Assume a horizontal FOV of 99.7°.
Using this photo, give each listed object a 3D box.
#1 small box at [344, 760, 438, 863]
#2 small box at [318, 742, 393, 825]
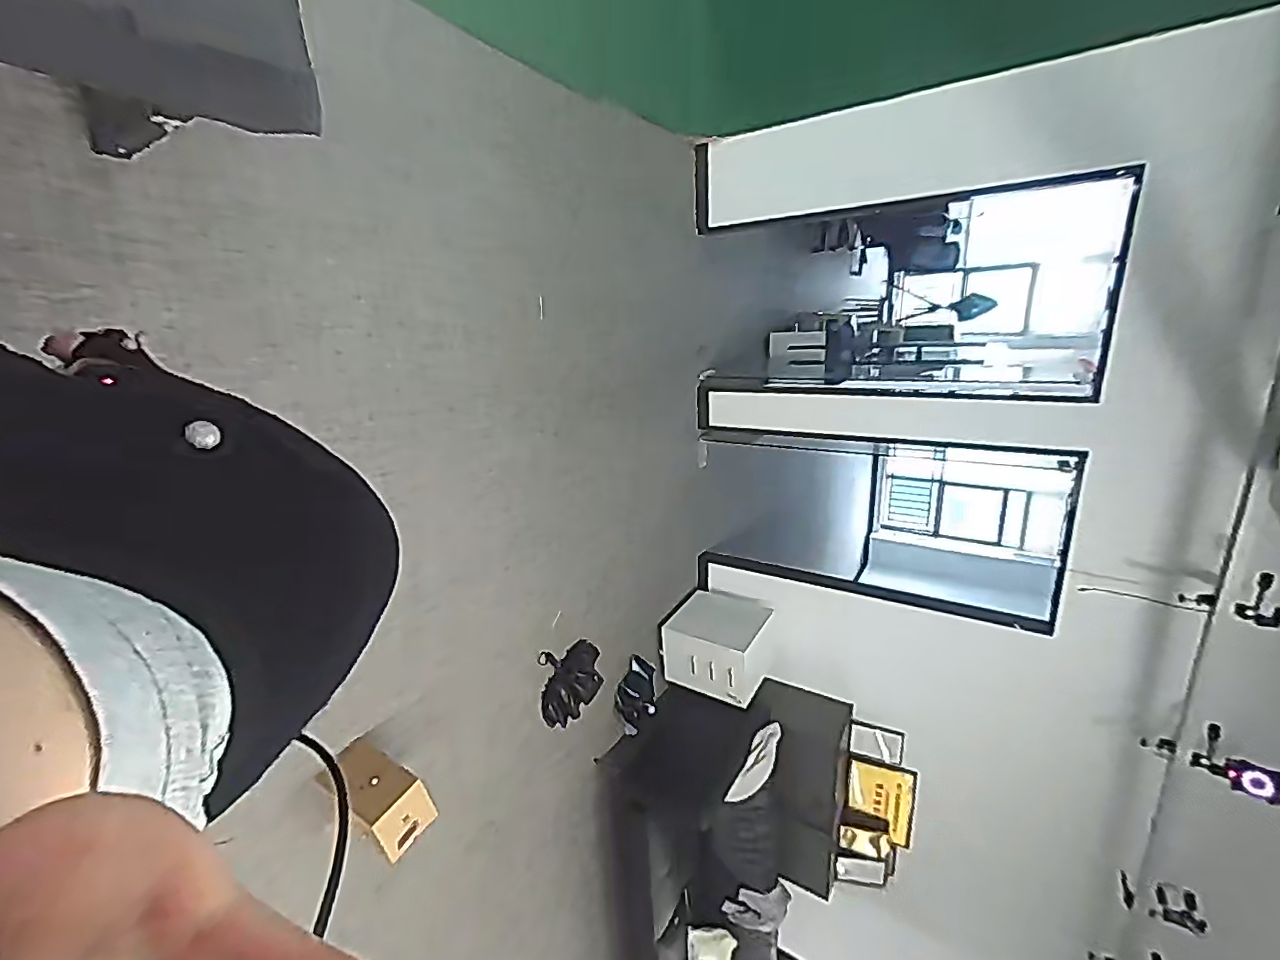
[{"bbox_3d":[-0.748,0.986,1.623,0.168,0.176,0.179,-39,127,-46],"label":"small box"},{"bbox_3d":[-0.880,0.965,1.716,0.168,0.176,0.179,-40,131,-45],"label":"small box"}]
